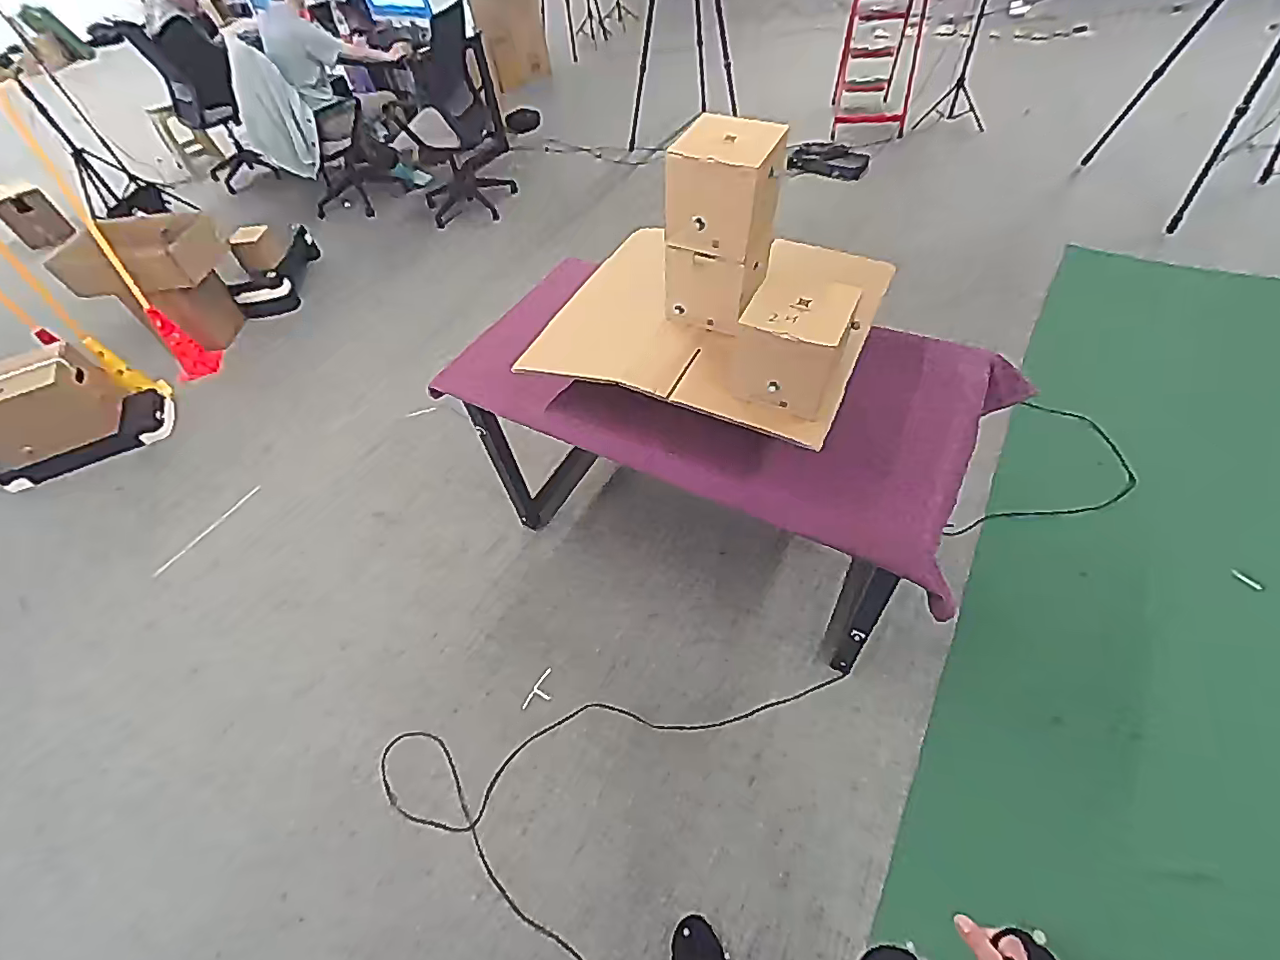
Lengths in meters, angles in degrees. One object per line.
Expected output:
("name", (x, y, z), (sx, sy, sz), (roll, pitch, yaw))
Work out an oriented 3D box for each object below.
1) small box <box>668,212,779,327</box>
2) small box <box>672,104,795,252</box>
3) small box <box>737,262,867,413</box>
("small box", (0.169, -0.445, 1.112), (0.168, 0.176, 0.179), (22, 58, 17))
("small box", (0.164, -0.546, 0.986), (0.168, 0.176, 0.179), (21, 59, 17))
("small box", (0.281, -0.254, 0.967), (0.168, 0.176, 0.179), (22, 59, 19))
